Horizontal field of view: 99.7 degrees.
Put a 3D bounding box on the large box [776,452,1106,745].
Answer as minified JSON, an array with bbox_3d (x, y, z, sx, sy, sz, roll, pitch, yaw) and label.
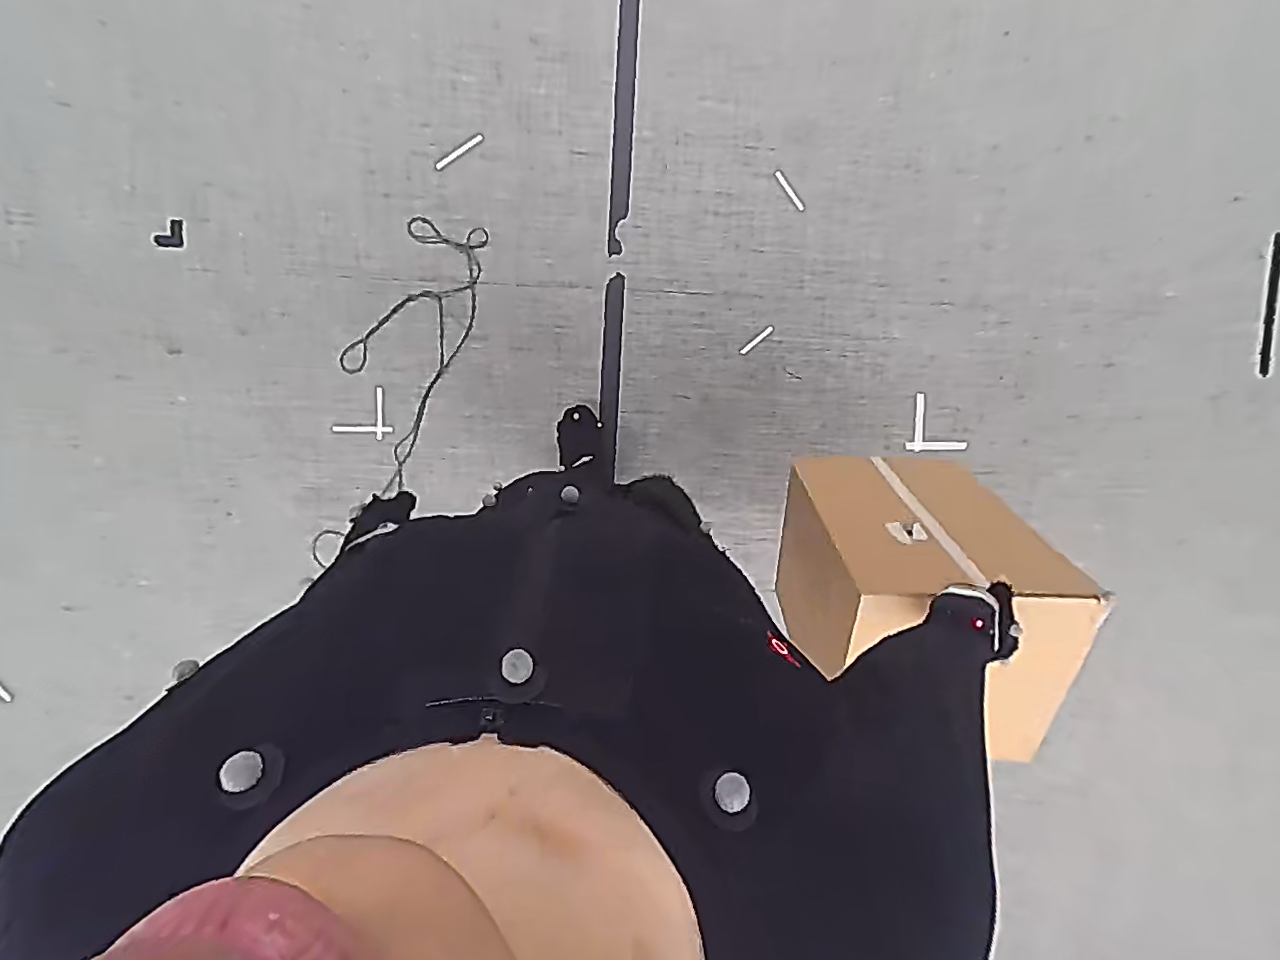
[{"bbox_3d":[0.445,0.179,0.934,0.320,0.408,0.320,1,119,2],"label":"large box"}]
